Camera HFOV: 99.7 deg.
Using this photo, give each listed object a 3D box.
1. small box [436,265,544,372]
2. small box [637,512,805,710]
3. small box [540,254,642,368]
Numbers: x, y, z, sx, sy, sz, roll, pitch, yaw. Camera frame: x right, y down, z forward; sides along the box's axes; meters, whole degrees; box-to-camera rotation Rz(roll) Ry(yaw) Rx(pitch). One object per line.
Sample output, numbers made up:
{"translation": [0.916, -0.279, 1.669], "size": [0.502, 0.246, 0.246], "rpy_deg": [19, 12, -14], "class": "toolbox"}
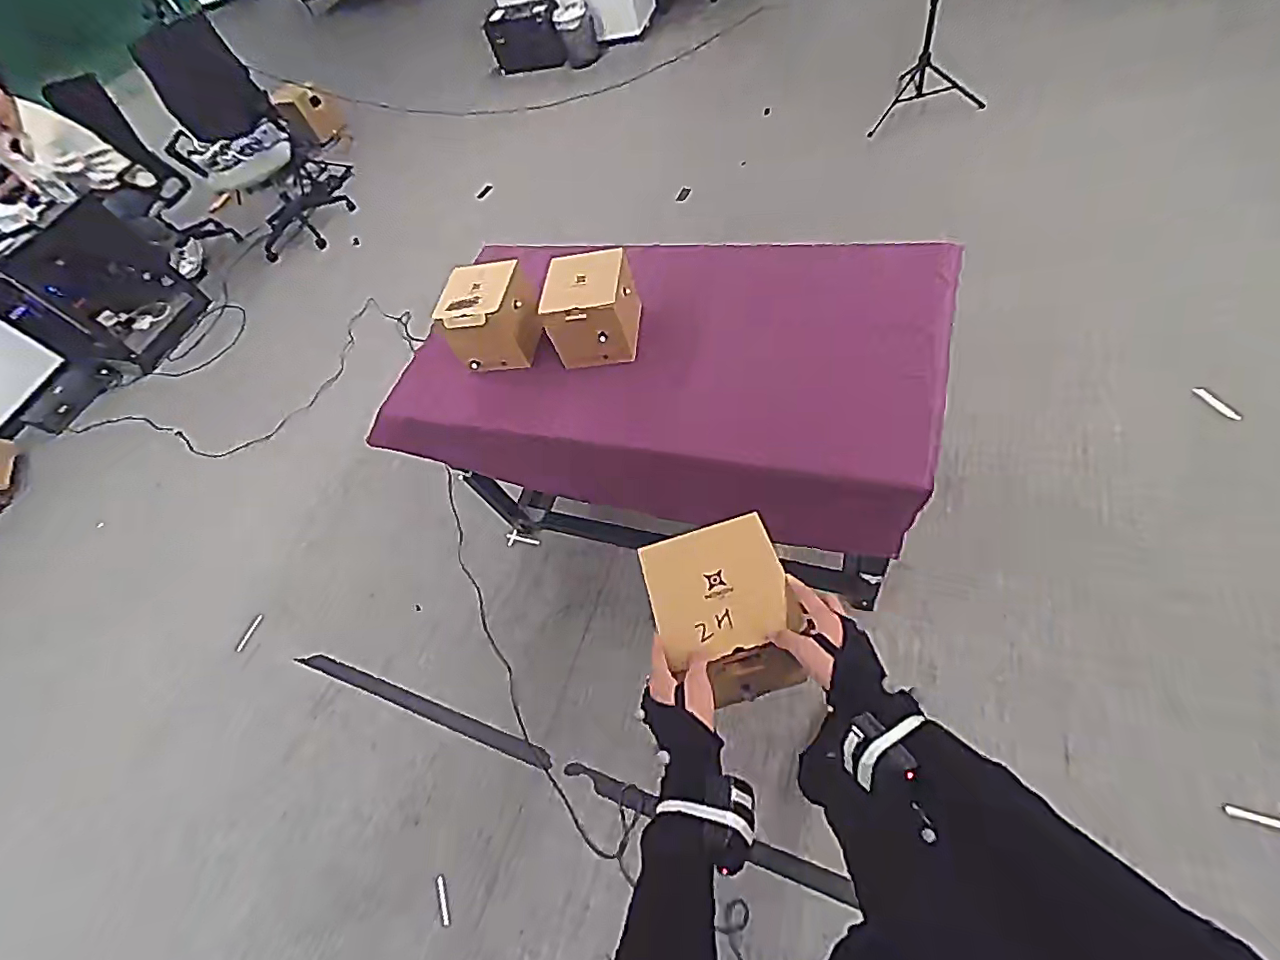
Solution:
{"translation": [-0.339, -0.367, 1.265], "size": [0.168, 0.176, 0.179], "rpy_deg": [-1, 58, 16], "class": "small box"}
{"translation": [0.107, 0.177, 0.720], "size": [0.168, 0.176, 0.179], "rpy_deg": [-18, 50, 2], "class": "small box"}
{"translation": [-0.099, -0.362, 1.192], "size": [0.168, 0.176, 0.179], "rpy_deg": [-2, 58, 15], "class": "small box"}
